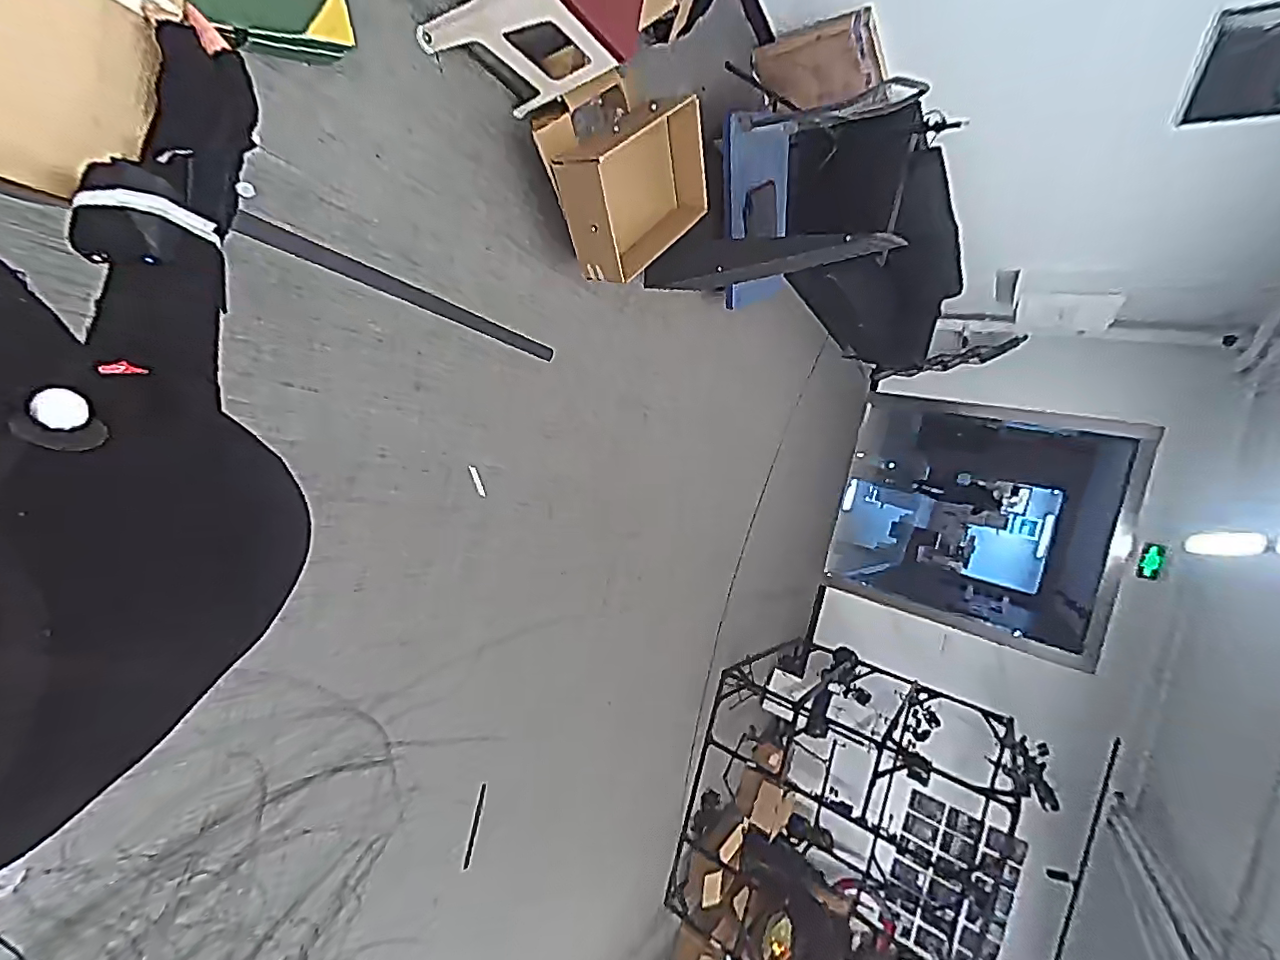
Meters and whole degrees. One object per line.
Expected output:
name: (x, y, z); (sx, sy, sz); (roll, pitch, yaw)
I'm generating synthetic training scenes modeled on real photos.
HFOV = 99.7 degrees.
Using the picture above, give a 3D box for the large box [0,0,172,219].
large box: (-0.600, -0.407, 0.327); (0.408, 0.320, 0.320); (2, 107, -62)
